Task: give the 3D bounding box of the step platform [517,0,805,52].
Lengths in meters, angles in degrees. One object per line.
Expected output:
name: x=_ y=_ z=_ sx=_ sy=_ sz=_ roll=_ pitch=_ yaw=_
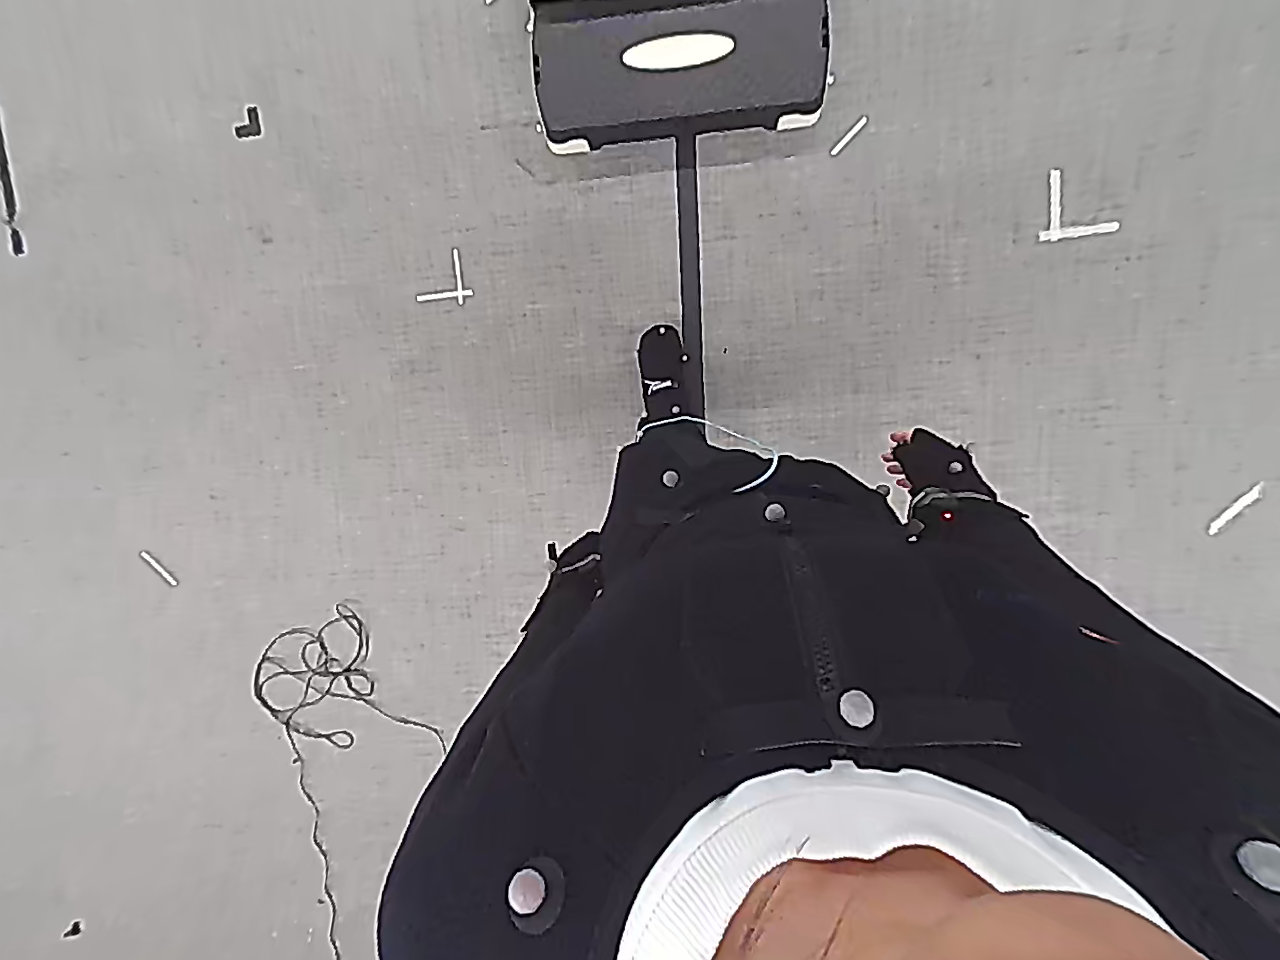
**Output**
step platform: x=0.046 y=-1.198 z=1.191 sx=0.684 sy=0.204 sz=0.286 roll=-4 pitch=98 yaw=5
